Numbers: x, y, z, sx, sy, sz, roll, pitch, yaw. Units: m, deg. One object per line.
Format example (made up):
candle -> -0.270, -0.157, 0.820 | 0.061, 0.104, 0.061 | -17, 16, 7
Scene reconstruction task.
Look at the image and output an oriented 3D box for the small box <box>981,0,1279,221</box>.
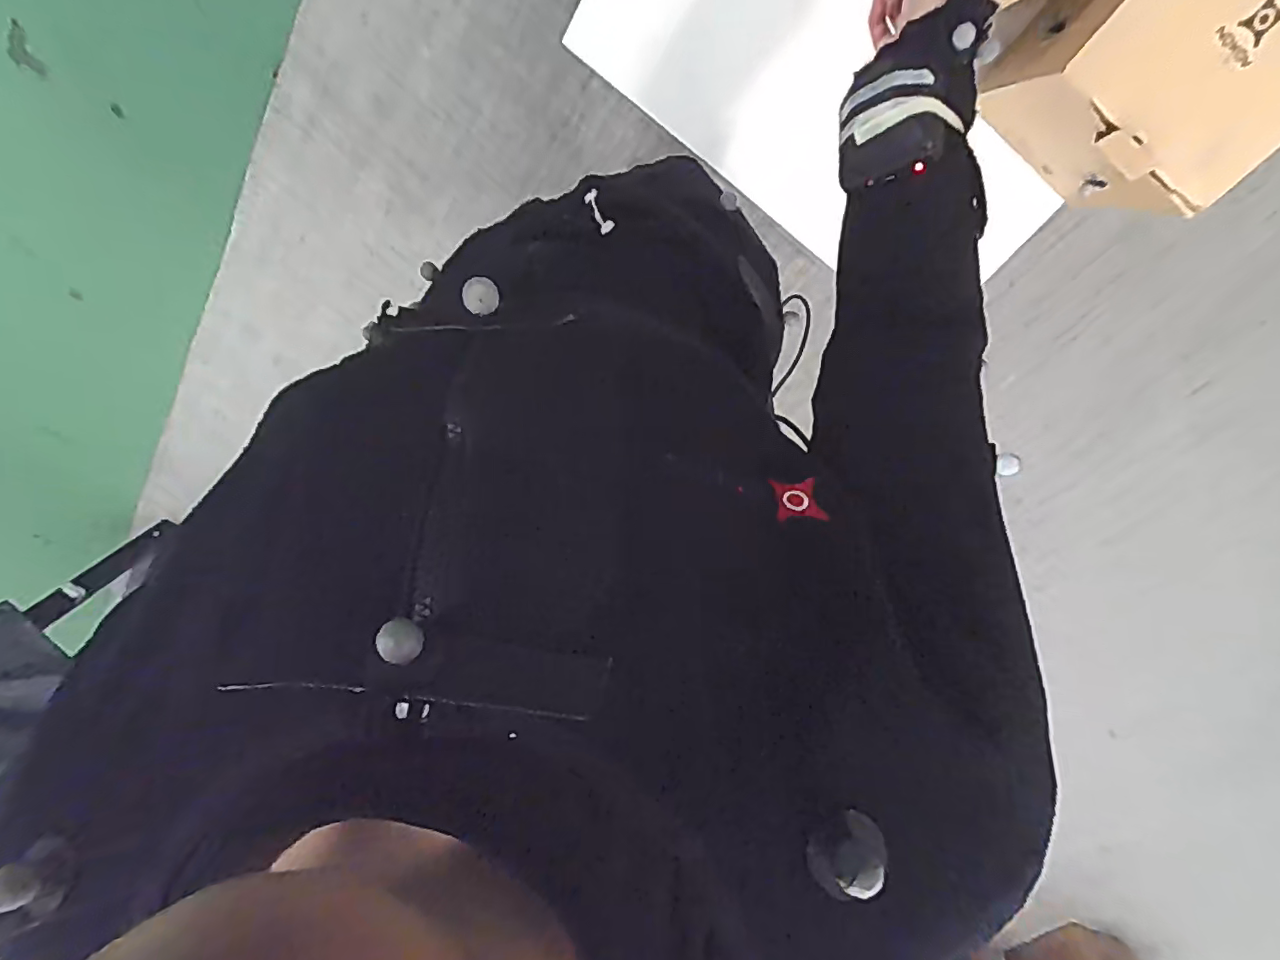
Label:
small box -> 0.417, -0.342, 0.435 | 0.168, 0.176, 0.179 | 32, 117, -13
